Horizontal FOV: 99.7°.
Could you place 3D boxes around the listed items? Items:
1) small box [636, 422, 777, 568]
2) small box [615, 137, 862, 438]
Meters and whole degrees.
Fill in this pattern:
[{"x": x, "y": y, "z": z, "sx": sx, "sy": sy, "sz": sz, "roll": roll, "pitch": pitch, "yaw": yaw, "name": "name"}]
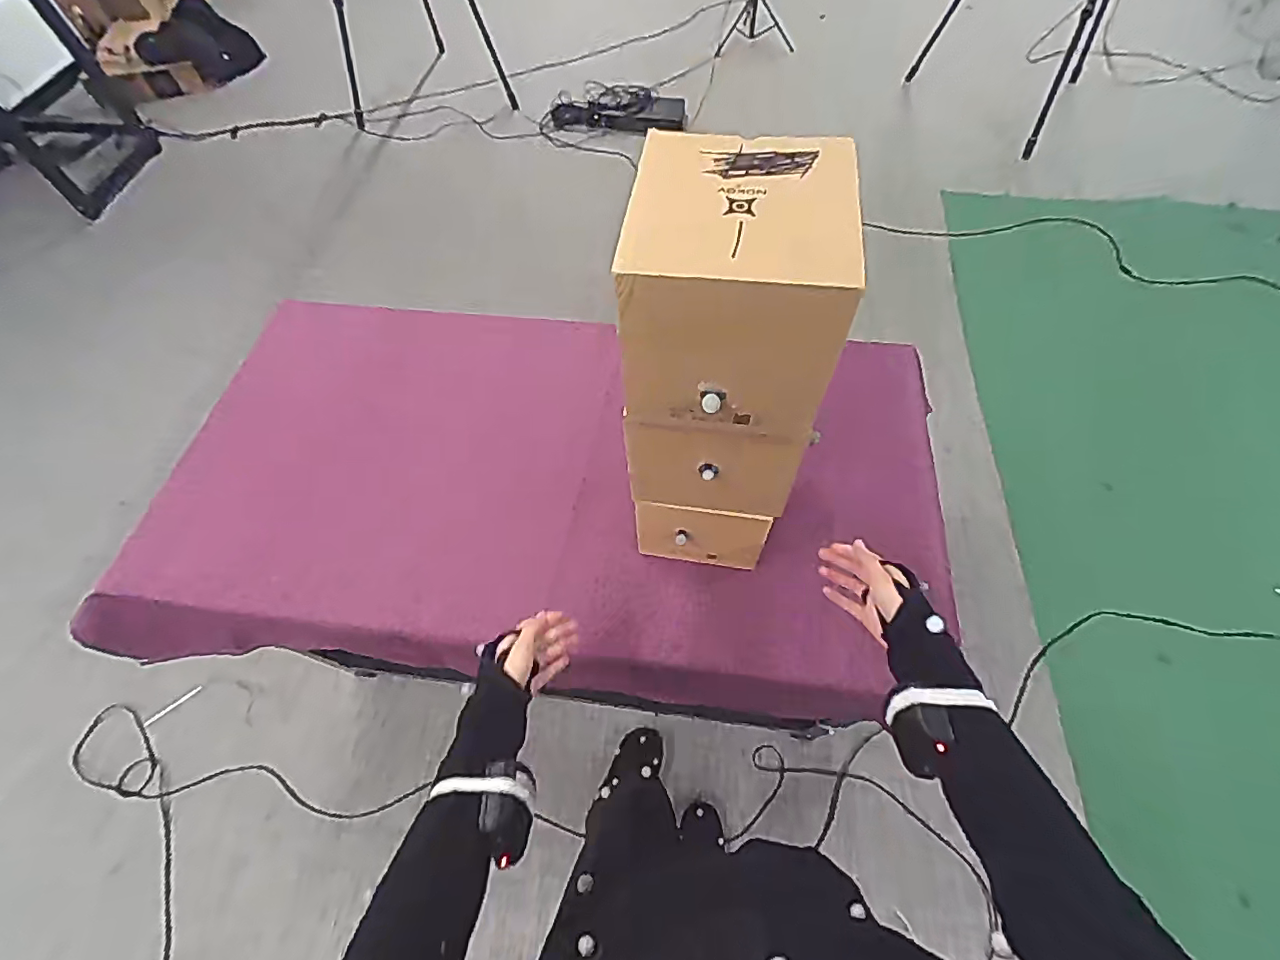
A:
[{"x": 0.093, "y": 0.006, "z": 0.749, "sx": 0.168, "sy": 0.176, "sz": 0.179, "roll": 7, "pitch": 59, "yaw": 7, "name": "small box"}, {"x": 0.078, "y": -0.161, "z": 0.466, "sx": 0.168, "sy": 0.176, "sz": 0.179, "roll": 6, "pitch": 60, "yaw": 7, "name": "small box"}]
